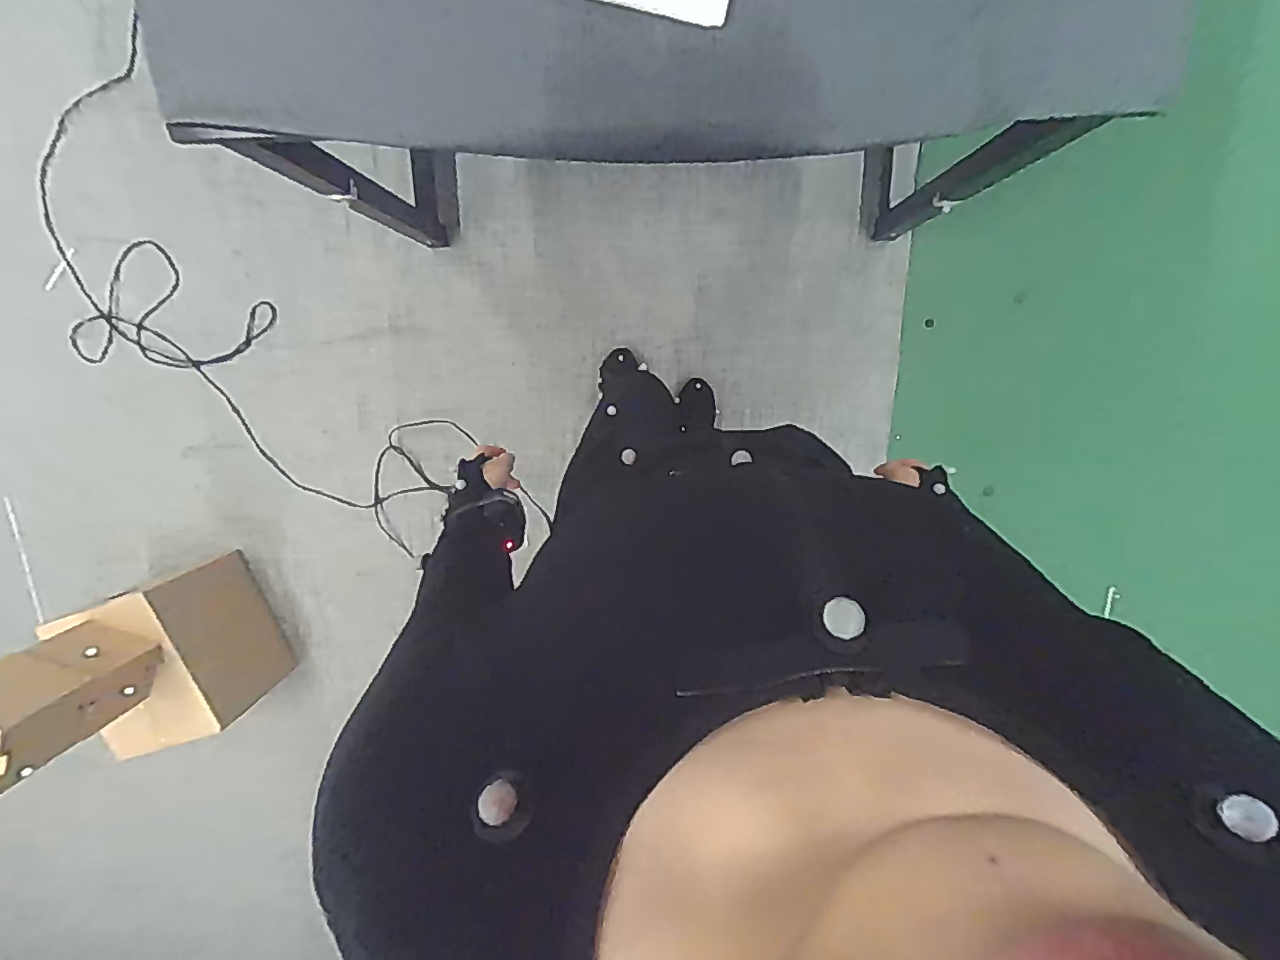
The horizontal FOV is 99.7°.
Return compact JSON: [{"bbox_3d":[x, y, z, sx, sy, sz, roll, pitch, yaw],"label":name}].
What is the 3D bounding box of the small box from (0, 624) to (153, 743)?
[{"bbox_3d":[-1.275,0.456,1.234,0.179,0.176,0.168,21,101,-5],"label":"small box"}]
